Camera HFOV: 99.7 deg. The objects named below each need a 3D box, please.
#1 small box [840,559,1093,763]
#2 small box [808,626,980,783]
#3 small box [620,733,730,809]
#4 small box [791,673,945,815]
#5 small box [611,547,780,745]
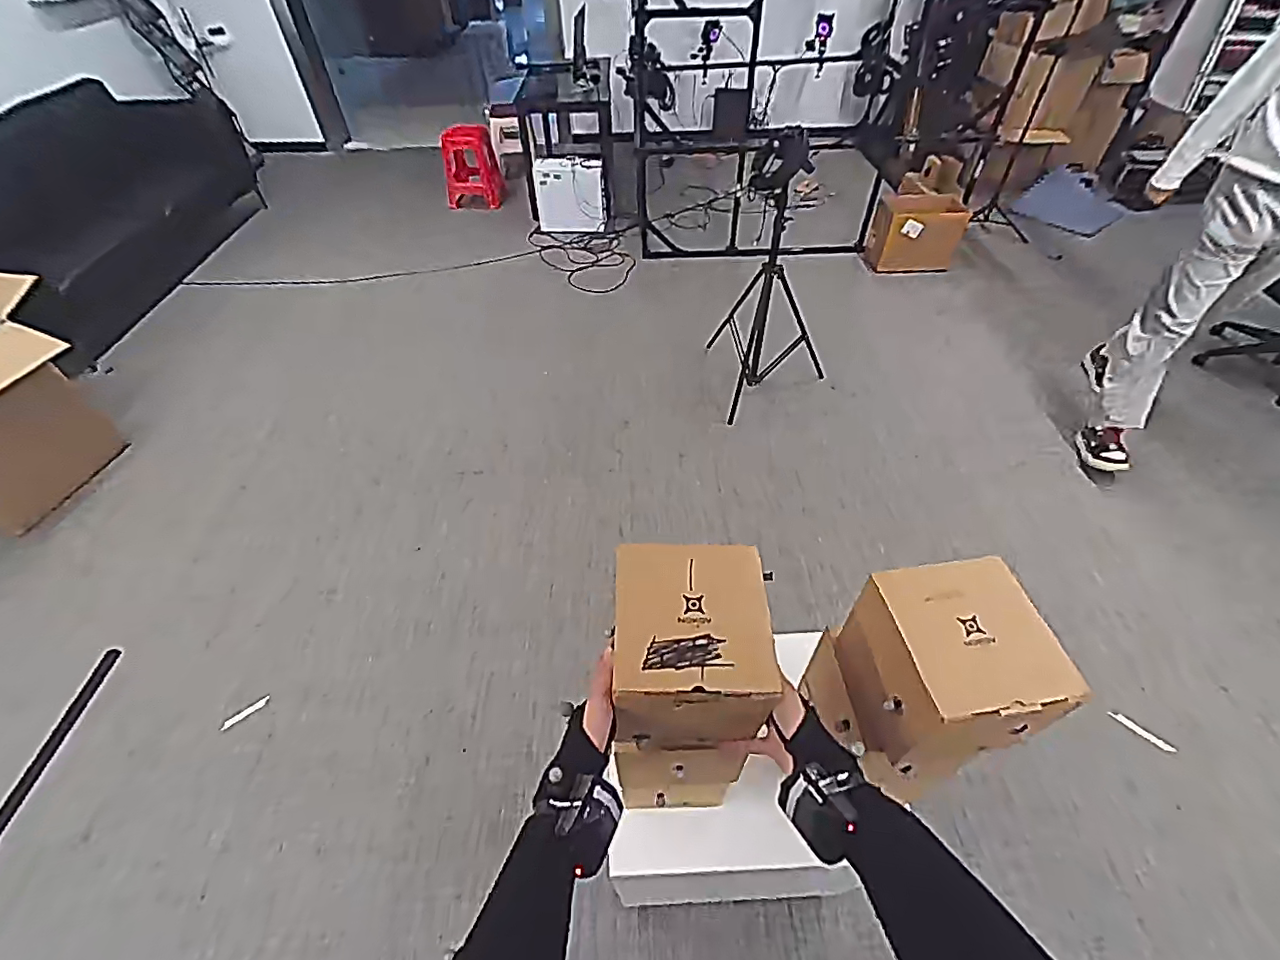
[{"bbox_3d":[0.367,0.222,0.651,0.168,0.176,0.179,-7,48,-5],"label":"small box"},{"bbox_3d":[0.357,0.324,0.780,0.168,0.176,0.179,-4,48,-1],"label":"small box"},{"bbox_3d":[0.054,0.441,0.909,0.168,0.176,0.179,-2,47,0],"label":"small box"},{"bbox_3d":[0.362,0.435,0.902,0.168,0.176,0.179,-5,47,-1],"label":"small box"},{"bbox_3d":[0.054,0.197,0.632,0.168,0.176,0.179,1,49,-2],"label":"small box"}]
